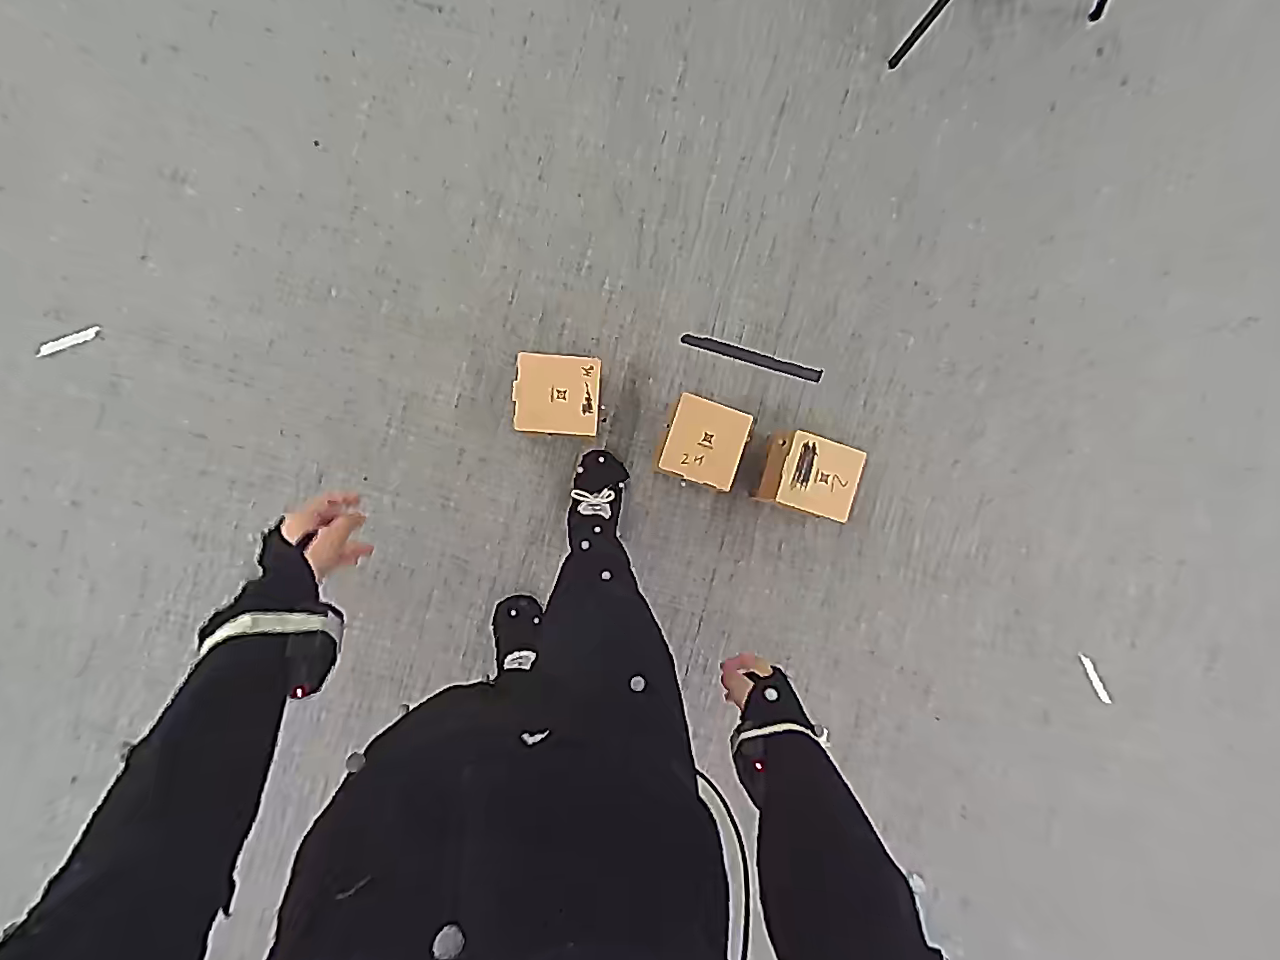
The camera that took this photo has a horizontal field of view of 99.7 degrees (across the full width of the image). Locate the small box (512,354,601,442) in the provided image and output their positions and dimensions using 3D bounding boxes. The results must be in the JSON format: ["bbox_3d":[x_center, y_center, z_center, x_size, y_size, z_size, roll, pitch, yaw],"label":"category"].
[{"bbox_3d":[-0.181,-0.176,1.208,0.179,0.176,0.168,4,91,-5],"label":"small box"}]

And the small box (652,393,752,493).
[{"bbox_3d":[0.132,-0.079,1.239,0.168,0.176,0.179,19,89,-5],"label":"small box"}]
